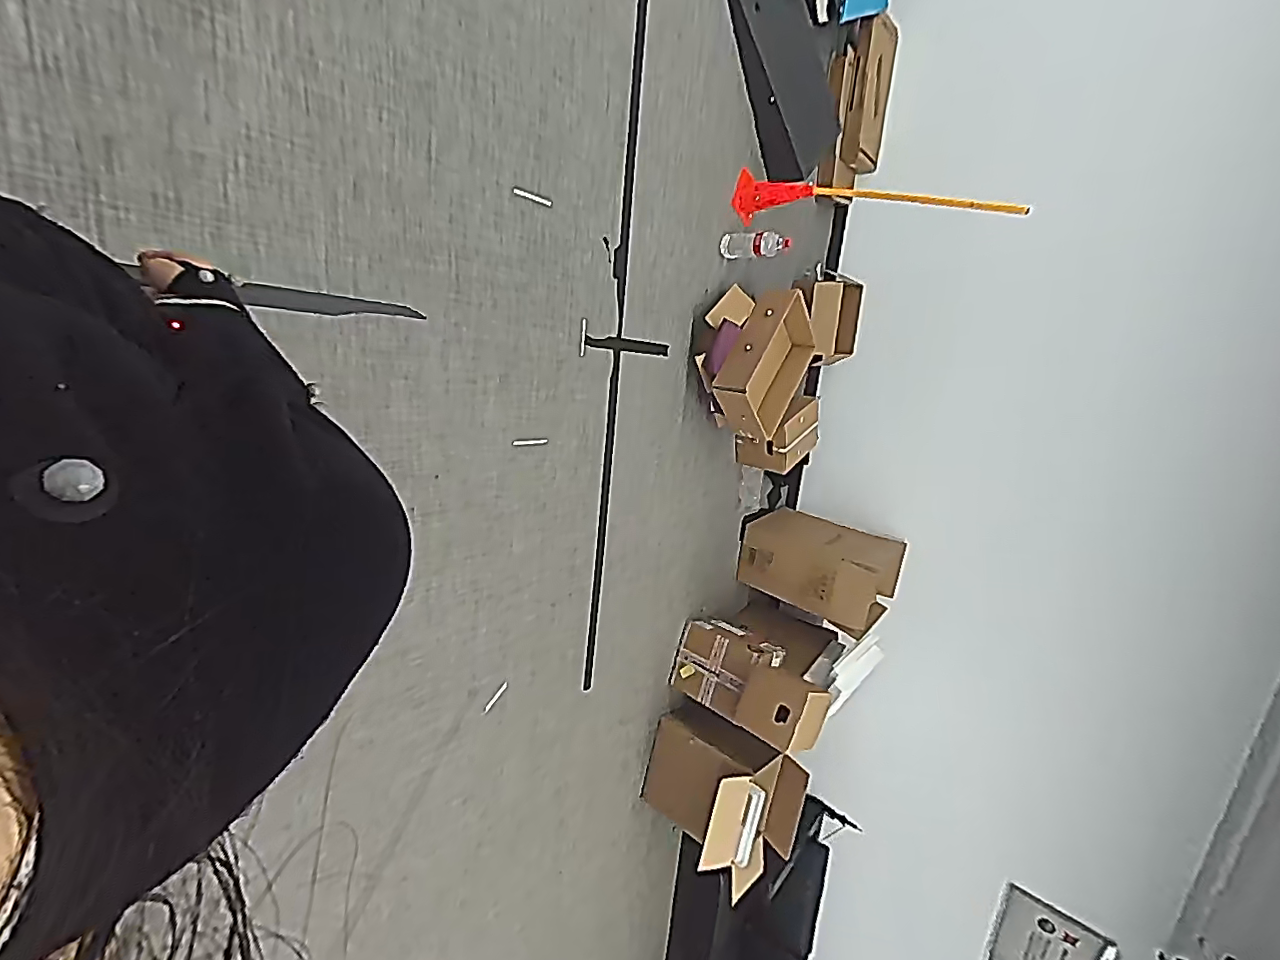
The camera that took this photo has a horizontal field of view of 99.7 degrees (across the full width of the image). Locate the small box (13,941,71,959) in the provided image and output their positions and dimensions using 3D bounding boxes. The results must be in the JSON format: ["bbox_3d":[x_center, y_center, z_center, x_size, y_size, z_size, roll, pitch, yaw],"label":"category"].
[{"bbox_3d":[-1.149,1.021,0.998,0.168,0.176,0.179,-29,125,-45],"label":"small box"}]

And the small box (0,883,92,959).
[{"bbox_3d":[-1.271,0.977,1.100,0.168,0.176,0.179,-29,123,-44],"label":"small box"}]
